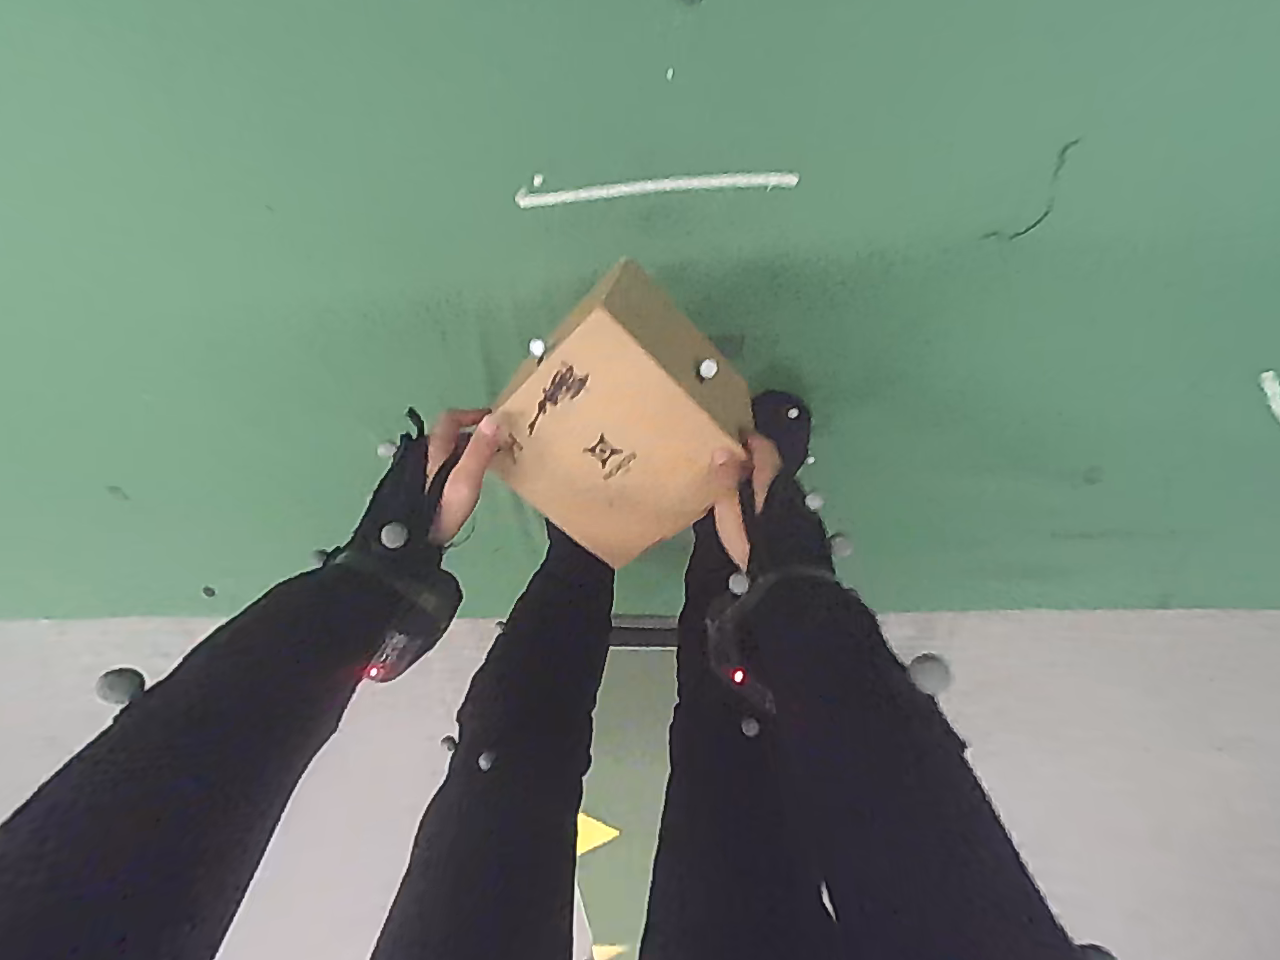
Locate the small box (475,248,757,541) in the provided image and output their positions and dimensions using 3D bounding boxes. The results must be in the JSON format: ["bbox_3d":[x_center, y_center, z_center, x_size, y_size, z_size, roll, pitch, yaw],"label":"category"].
[{"bbox_3d":[-0.013,-0.083,0.504,0.168,0.176,0.179,-37,114,26],"label":"small box"}]
